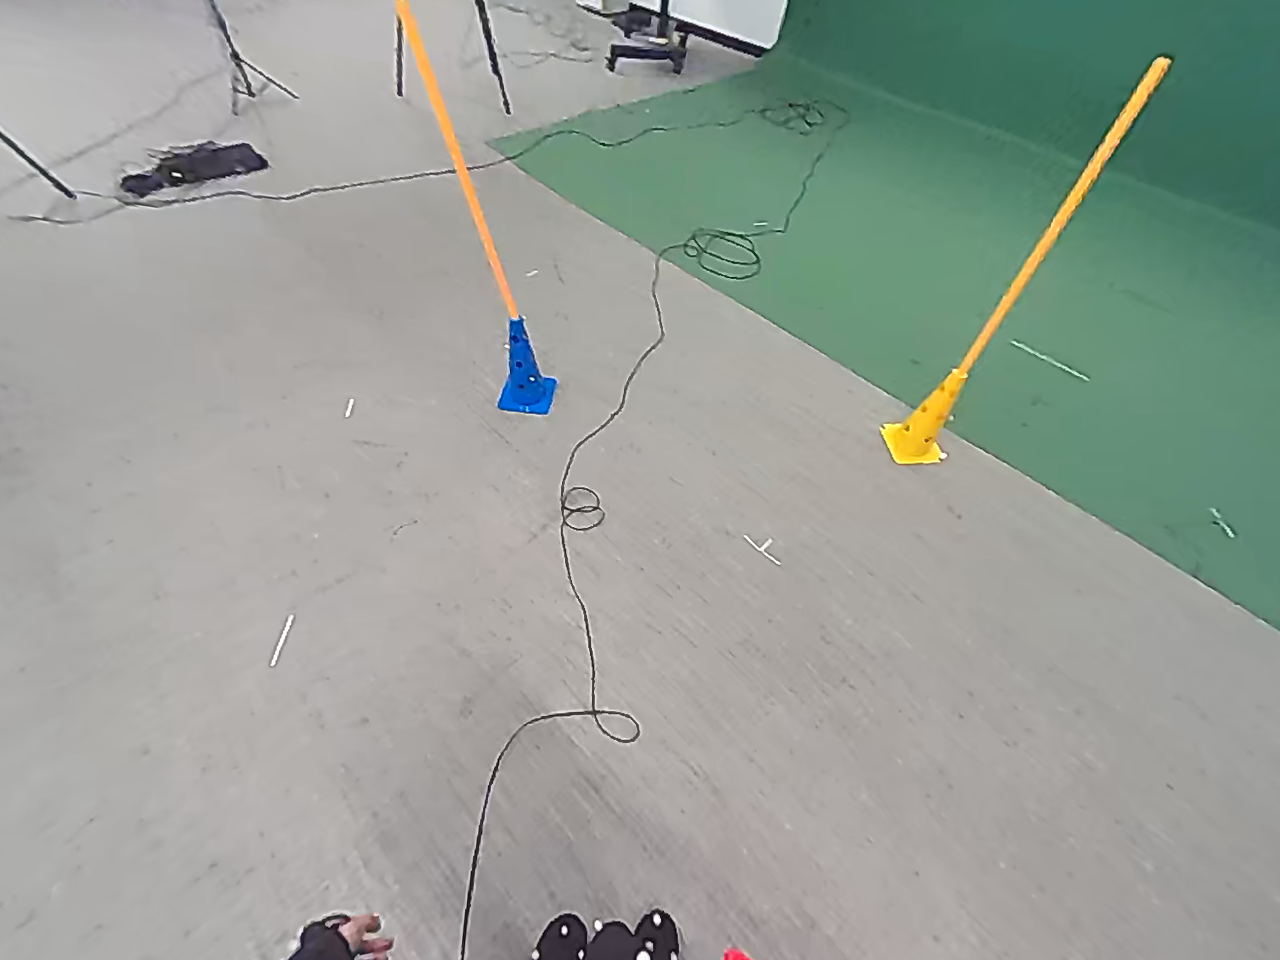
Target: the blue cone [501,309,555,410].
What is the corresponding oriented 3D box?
[{"bbox_3d":[-0.422,-0.441,1.945,0.193,0.380,0.192,5,53,1],"label":"blue cone"}]
